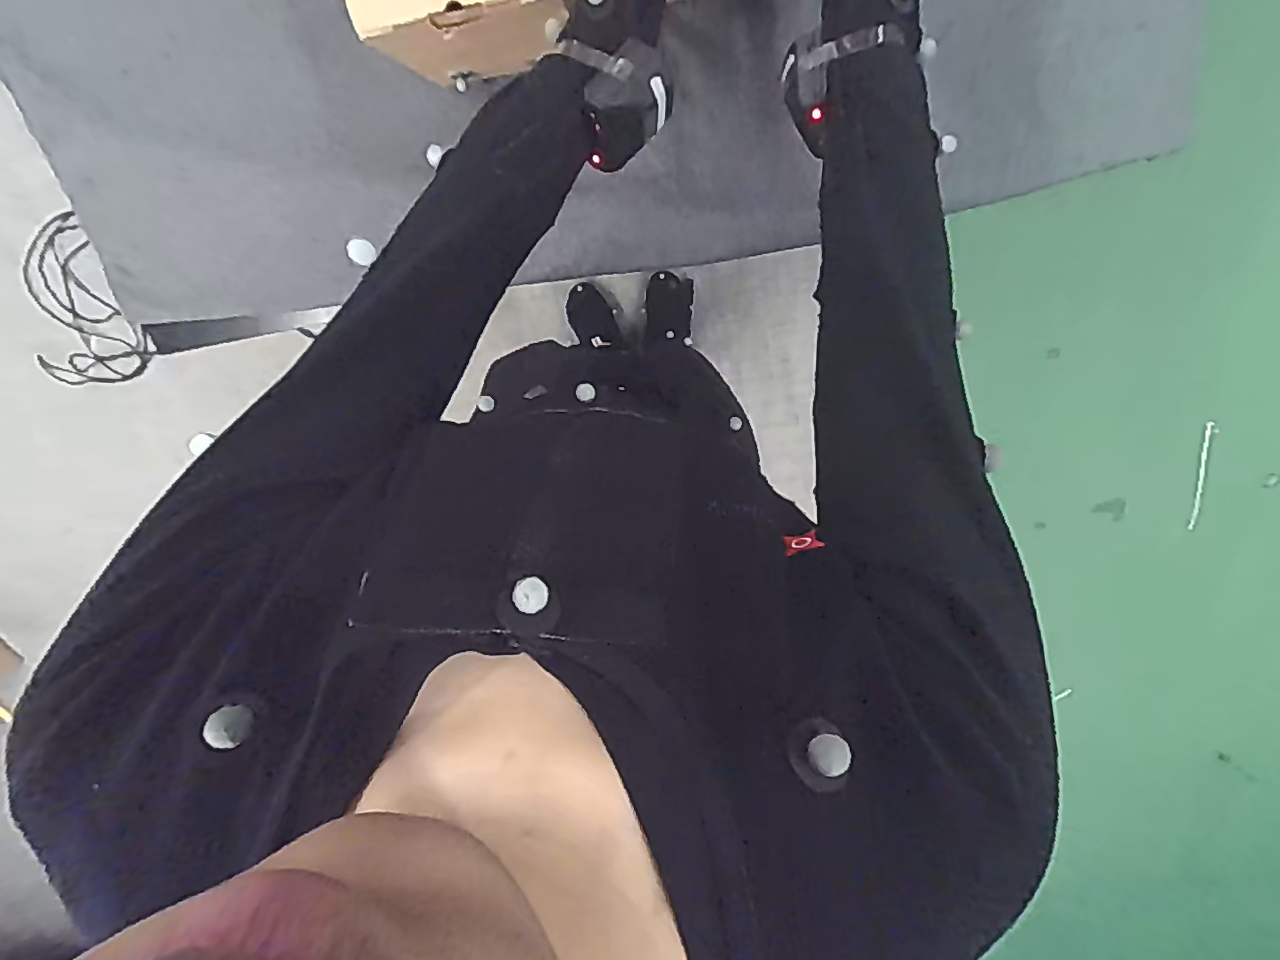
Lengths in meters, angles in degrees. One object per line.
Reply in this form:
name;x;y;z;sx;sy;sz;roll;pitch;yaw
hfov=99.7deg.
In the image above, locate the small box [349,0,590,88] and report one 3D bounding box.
small box;-0.146;-0.461;0.458;0.168;0.176;0.179;-6;113;7
